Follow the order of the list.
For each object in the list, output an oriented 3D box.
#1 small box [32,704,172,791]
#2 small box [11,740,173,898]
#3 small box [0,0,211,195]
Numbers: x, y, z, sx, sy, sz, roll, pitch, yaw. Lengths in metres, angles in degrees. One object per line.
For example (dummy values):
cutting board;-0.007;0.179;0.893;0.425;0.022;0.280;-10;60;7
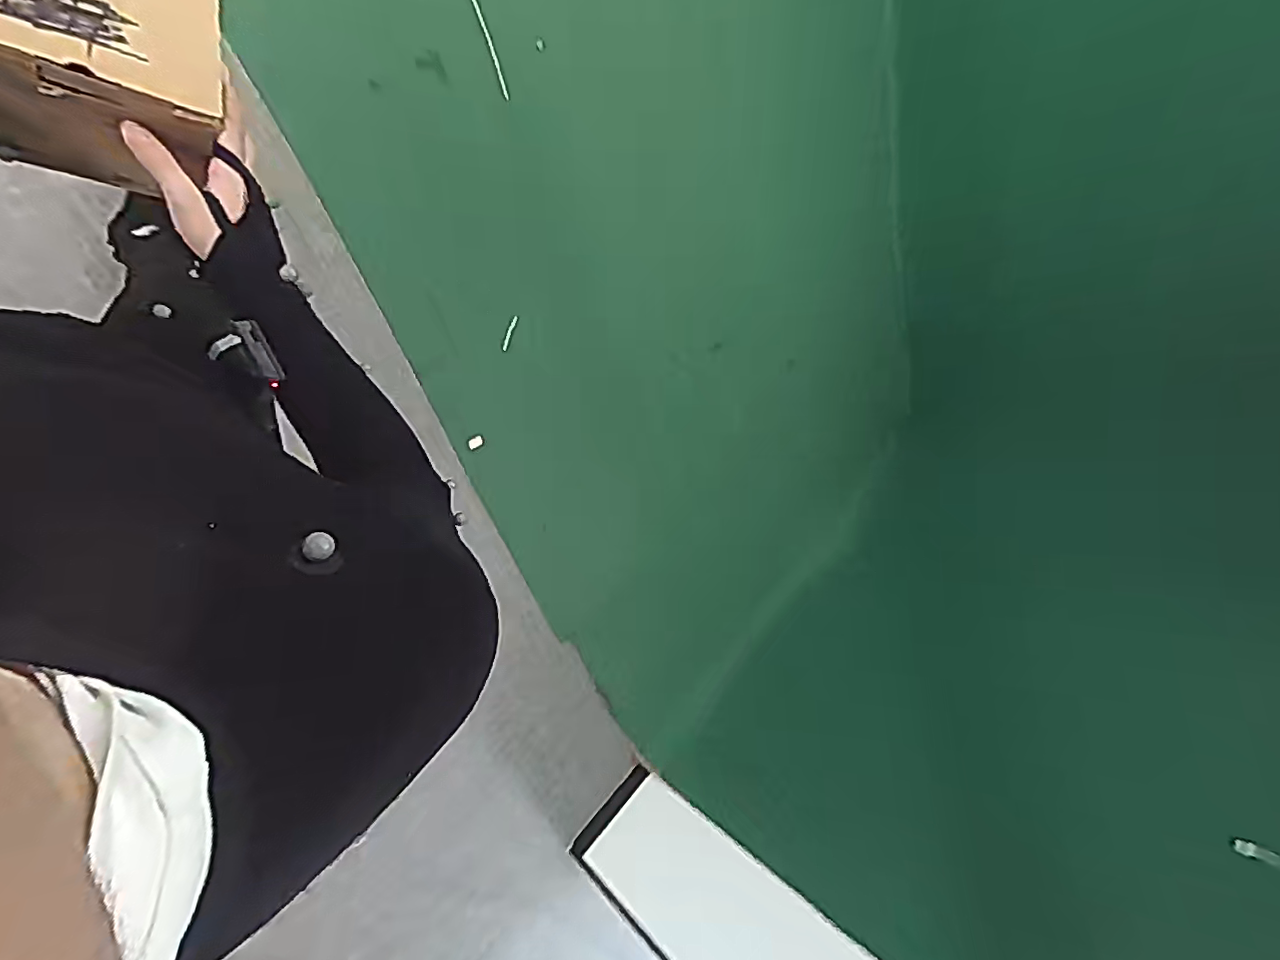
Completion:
small box;-1.212;0.641;1.231;0.168;0.176;0.179;-30;119;-33
small box;-1.109;0.685;1.112;0.179;0.176;0.168;-33;122;-33
small box;-0.468;-0.374;0.449;0.168;0.176;0.179;-2;88;-43
